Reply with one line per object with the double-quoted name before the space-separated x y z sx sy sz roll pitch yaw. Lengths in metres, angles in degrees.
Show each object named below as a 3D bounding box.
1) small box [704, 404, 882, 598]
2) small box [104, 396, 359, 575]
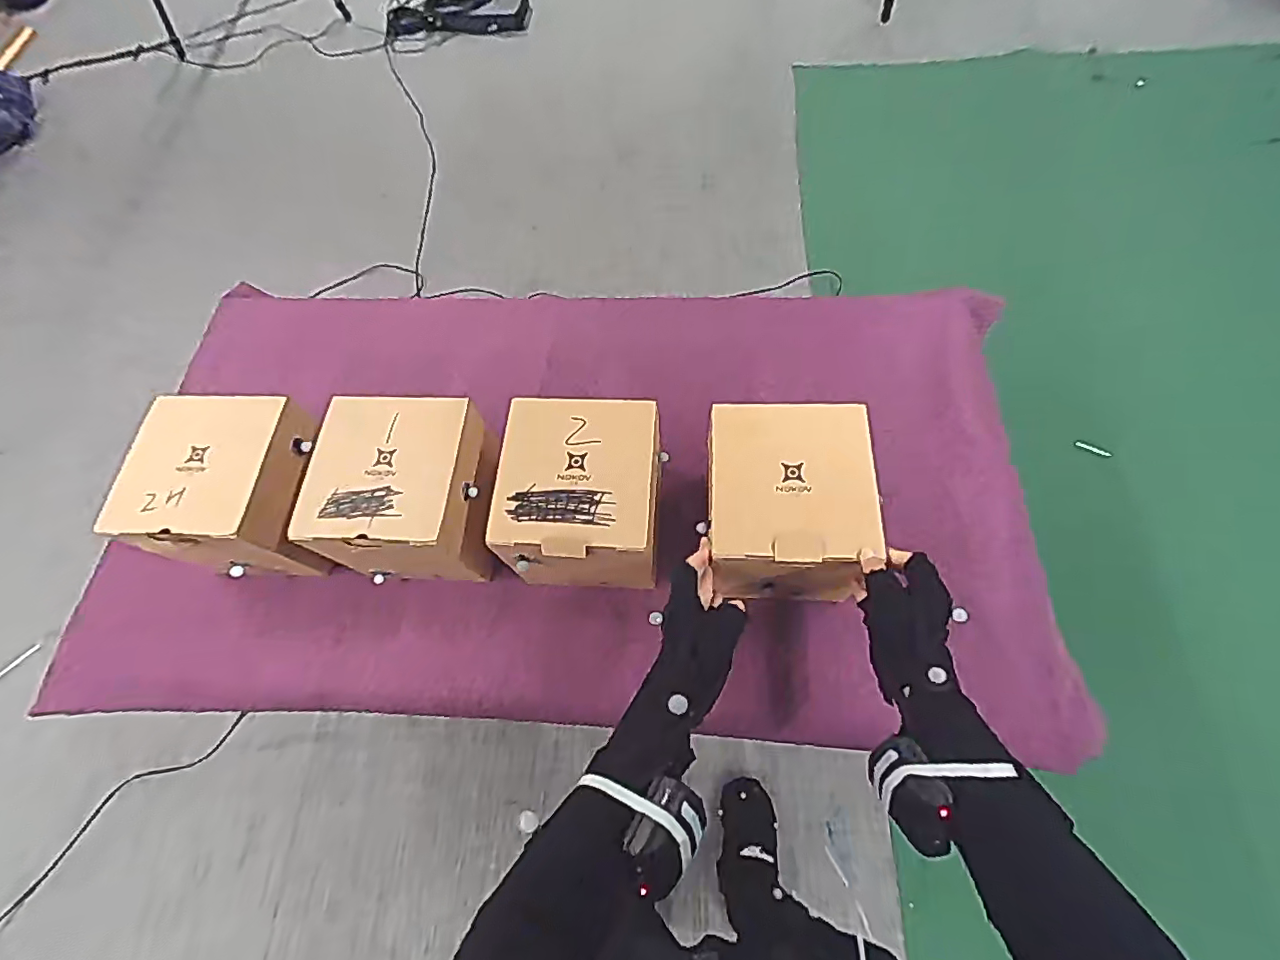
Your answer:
"small box" 0.160 0.029 0.627 0.168 0.176 0.179 1 67 6
"small box" -0.490 0.012 0.684 0.168 0.176 0.179 1 67 5
